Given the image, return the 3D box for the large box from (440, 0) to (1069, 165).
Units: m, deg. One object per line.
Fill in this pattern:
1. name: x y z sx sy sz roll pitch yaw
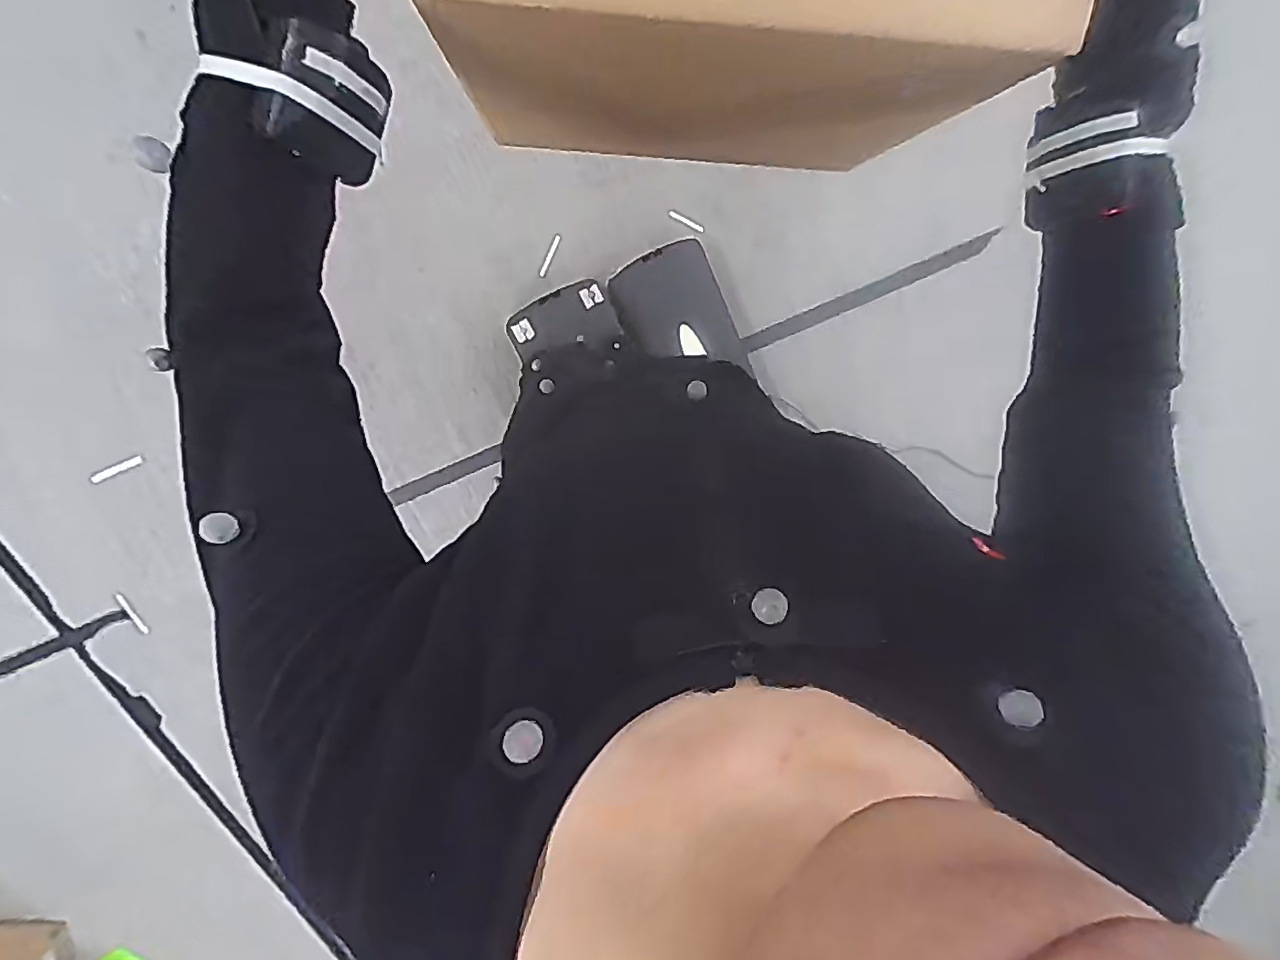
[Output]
1. large box: 0.063 -0.468 0.427 0.408 0.320 0.320 1 108 -6
